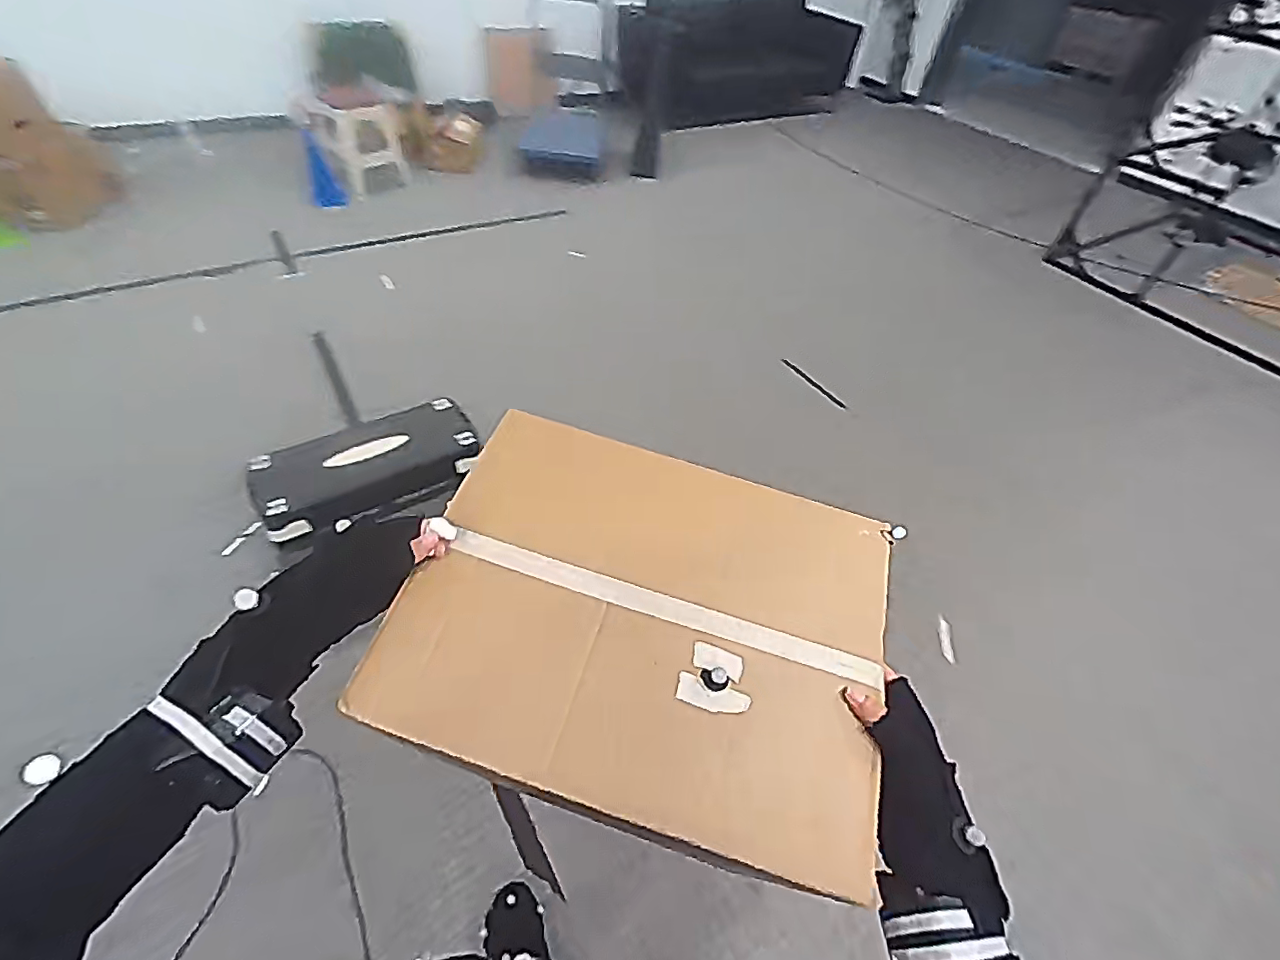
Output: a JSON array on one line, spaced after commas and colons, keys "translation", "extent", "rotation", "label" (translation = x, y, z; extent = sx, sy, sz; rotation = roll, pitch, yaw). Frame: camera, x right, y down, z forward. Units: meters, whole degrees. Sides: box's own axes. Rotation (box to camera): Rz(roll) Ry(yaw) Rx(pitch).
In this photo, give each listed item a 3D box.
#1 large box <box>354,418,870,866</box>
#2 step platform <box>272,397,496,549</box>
[{"translation": [-0.011, 0.187, 0.610], "extent": [0.408, 0.320, 0.320], "rotation": [17, 58, 4], "label": "large box"}, {"translation": [-0.821, -0.046, 1.808], "extent": [0.684, 0.204, 0.286], "rotation": [-24, 56, -27], "label": "step platform"}]
